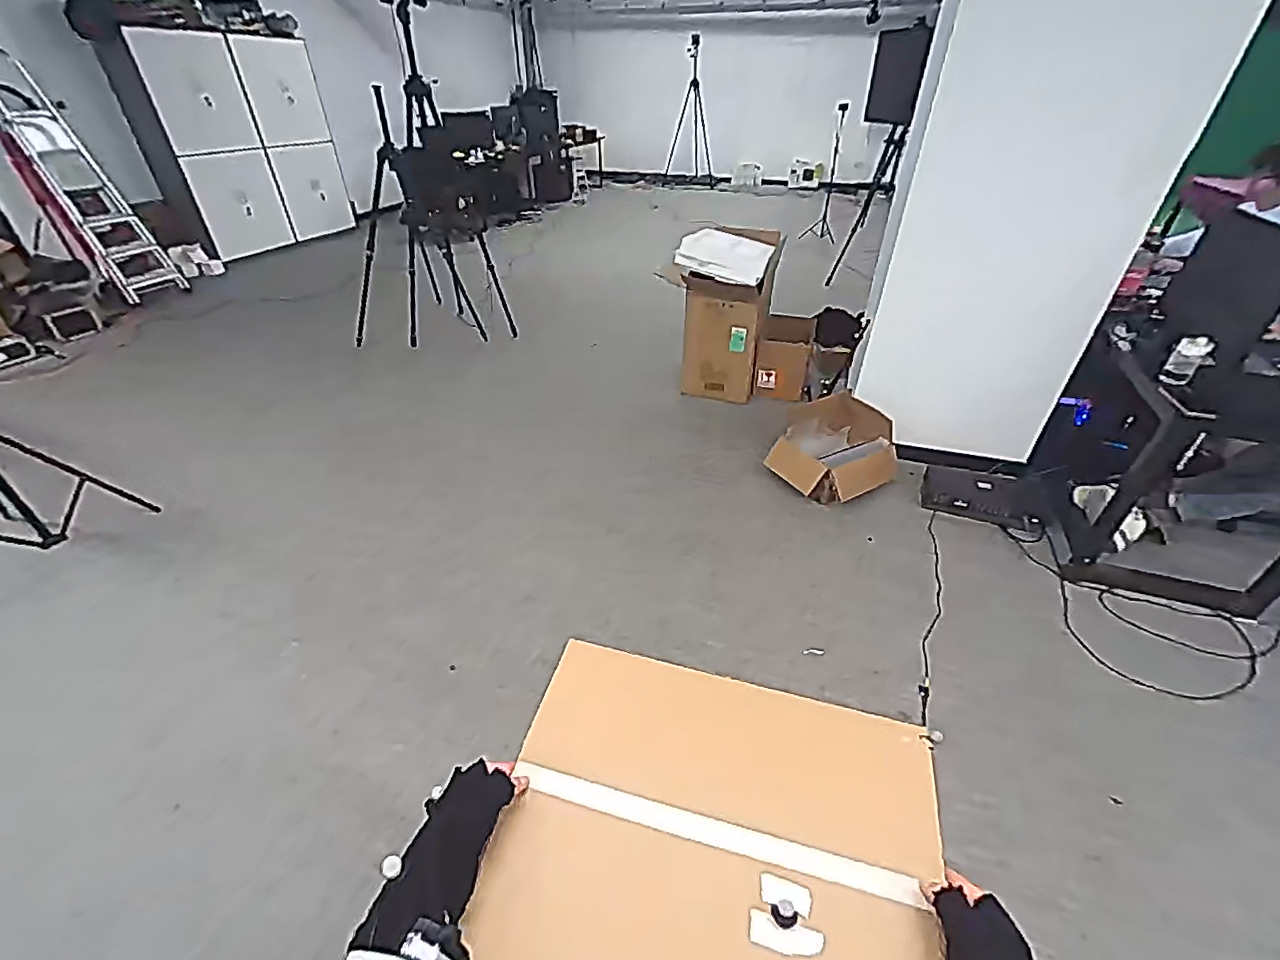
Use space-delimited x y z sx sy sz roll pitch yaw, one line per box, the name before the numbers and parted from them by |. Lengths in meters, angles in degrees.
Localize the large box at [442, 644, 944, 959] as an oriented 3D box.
large box | 0.063 0.439 0.603 0.408 0.320 0.320 11 43 11
